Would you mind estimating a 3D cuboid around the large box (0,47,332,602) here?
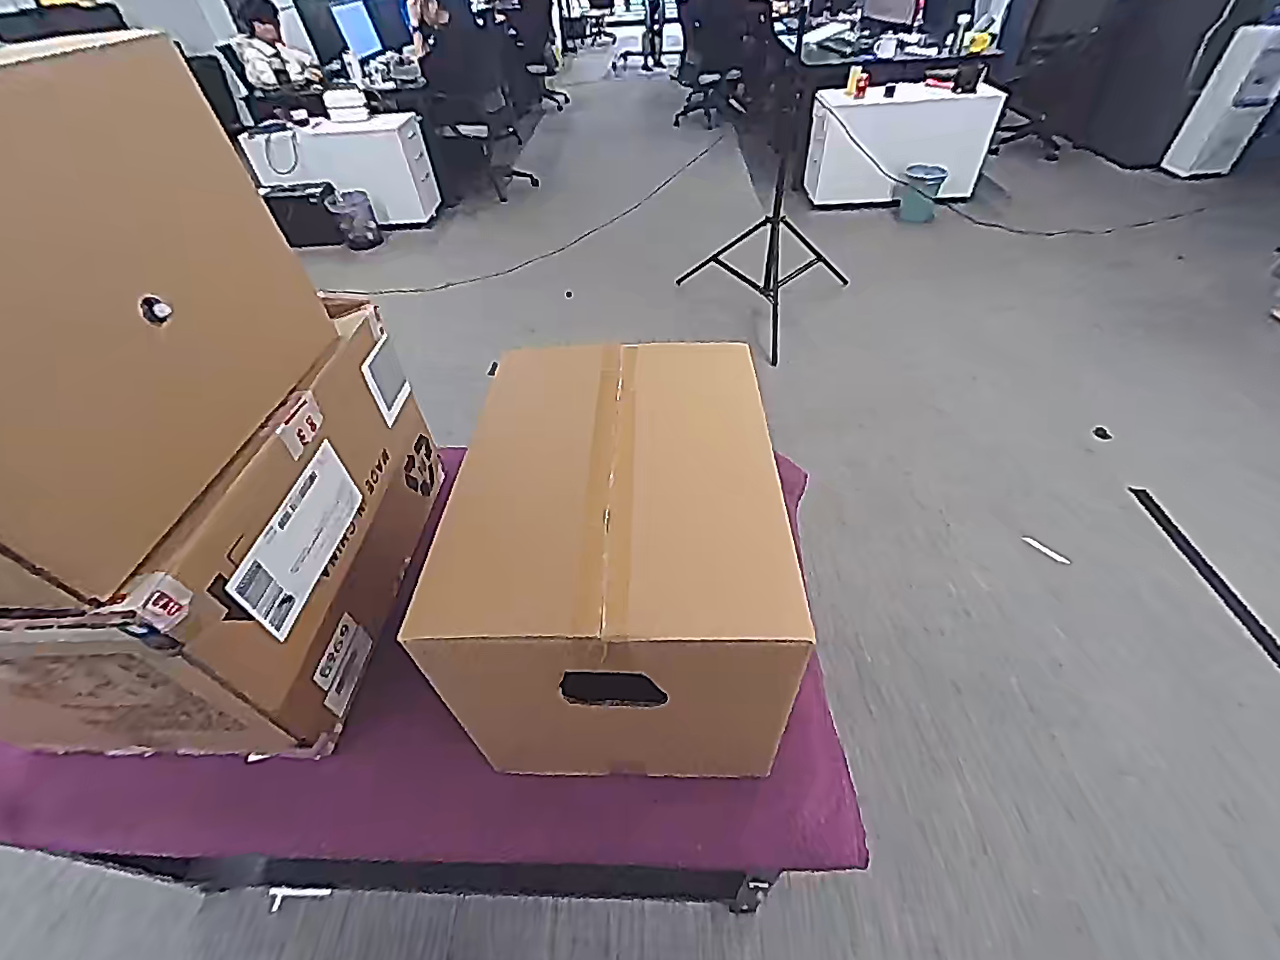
[{"bbox_3d":[-0.567,-0.143,0.480,0.320,0.320,0.408,-3,46,7],"label":"large box"}]
